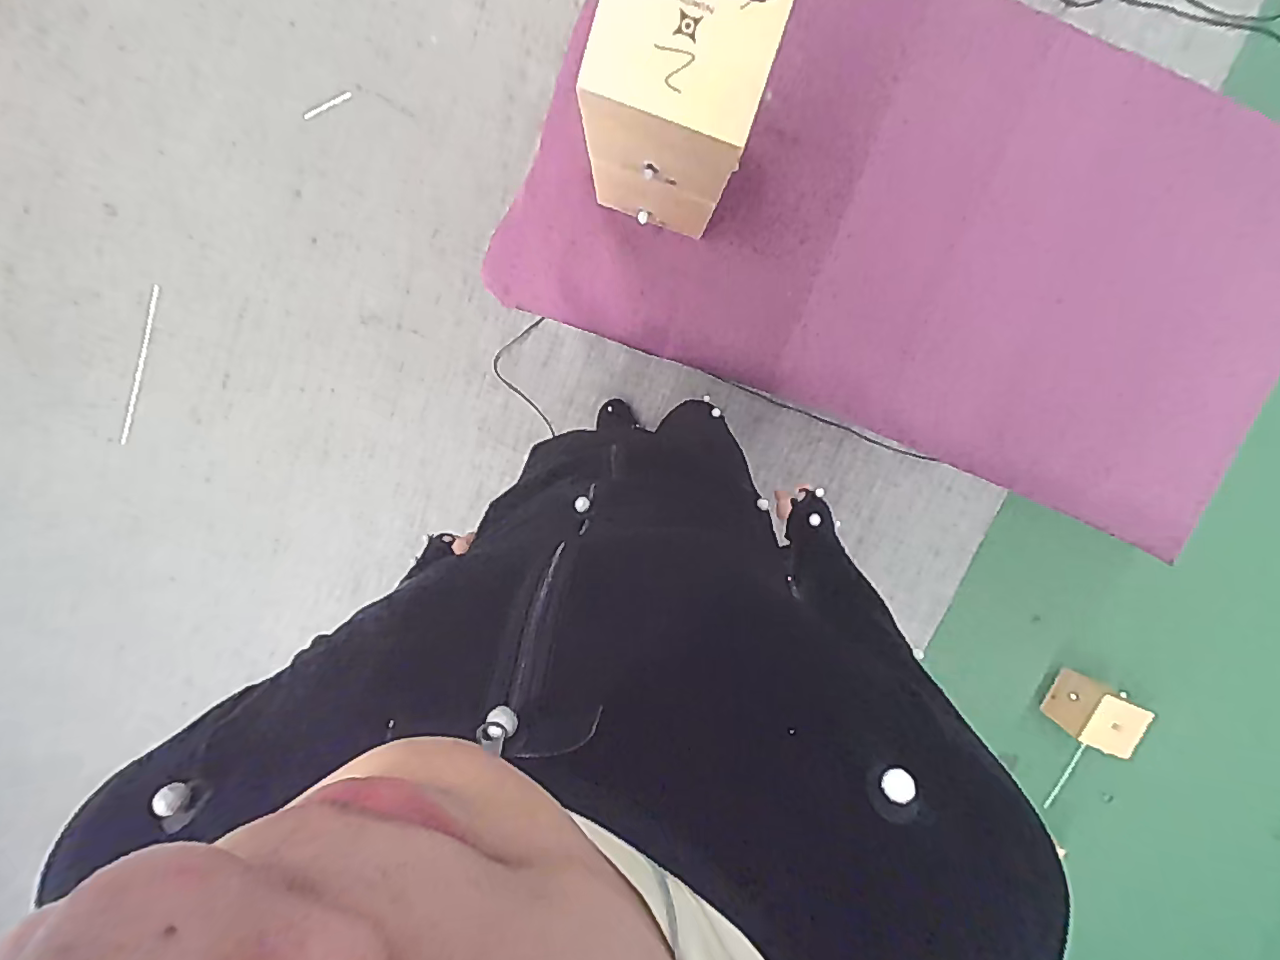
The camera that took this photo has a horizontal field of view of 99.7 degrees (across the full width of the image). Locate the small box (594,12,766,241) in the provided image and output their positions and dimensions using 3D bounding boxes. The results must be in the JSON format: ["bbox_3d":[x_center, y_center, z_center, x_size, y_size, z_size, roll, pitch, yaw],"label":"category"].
[{"bbox_3d":[0.044,-0.451,0.724,0.168,0.176,0.179,18,99,-4],"label":"small box"}]

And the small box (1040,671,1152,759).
[{"bbox_3d":[1.416,0.725,1.692,0.179,0.176,0.168,22,98,-5],"label":"small box"}]
